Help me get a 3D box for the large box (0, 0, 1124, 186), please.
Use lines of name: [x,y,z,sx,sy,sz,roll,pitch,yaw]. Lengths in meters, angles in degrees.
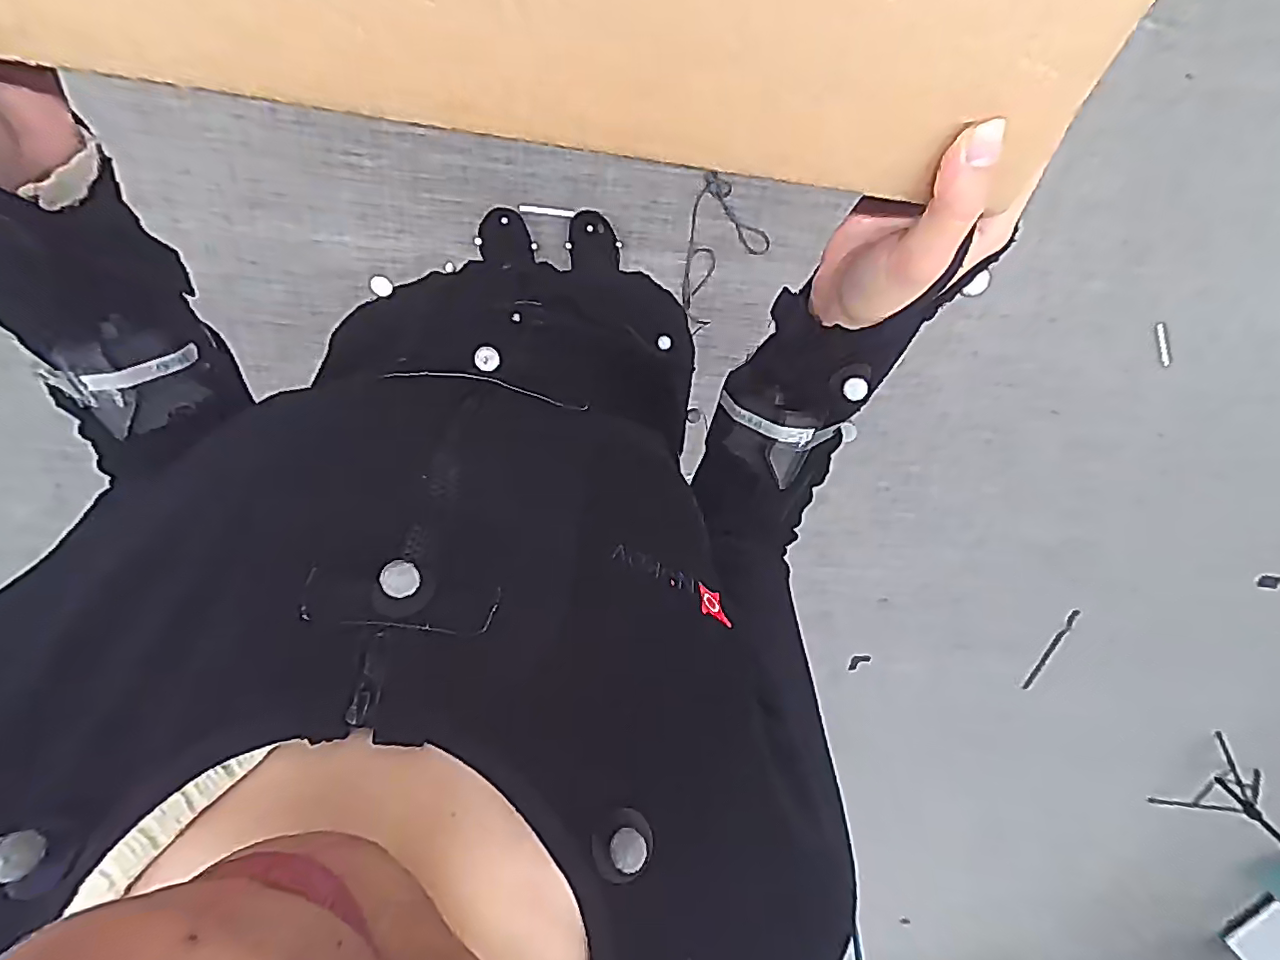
large box: [-0.031,-0.342,0.176,0.408,0.320,0.320,3,142,-8]
